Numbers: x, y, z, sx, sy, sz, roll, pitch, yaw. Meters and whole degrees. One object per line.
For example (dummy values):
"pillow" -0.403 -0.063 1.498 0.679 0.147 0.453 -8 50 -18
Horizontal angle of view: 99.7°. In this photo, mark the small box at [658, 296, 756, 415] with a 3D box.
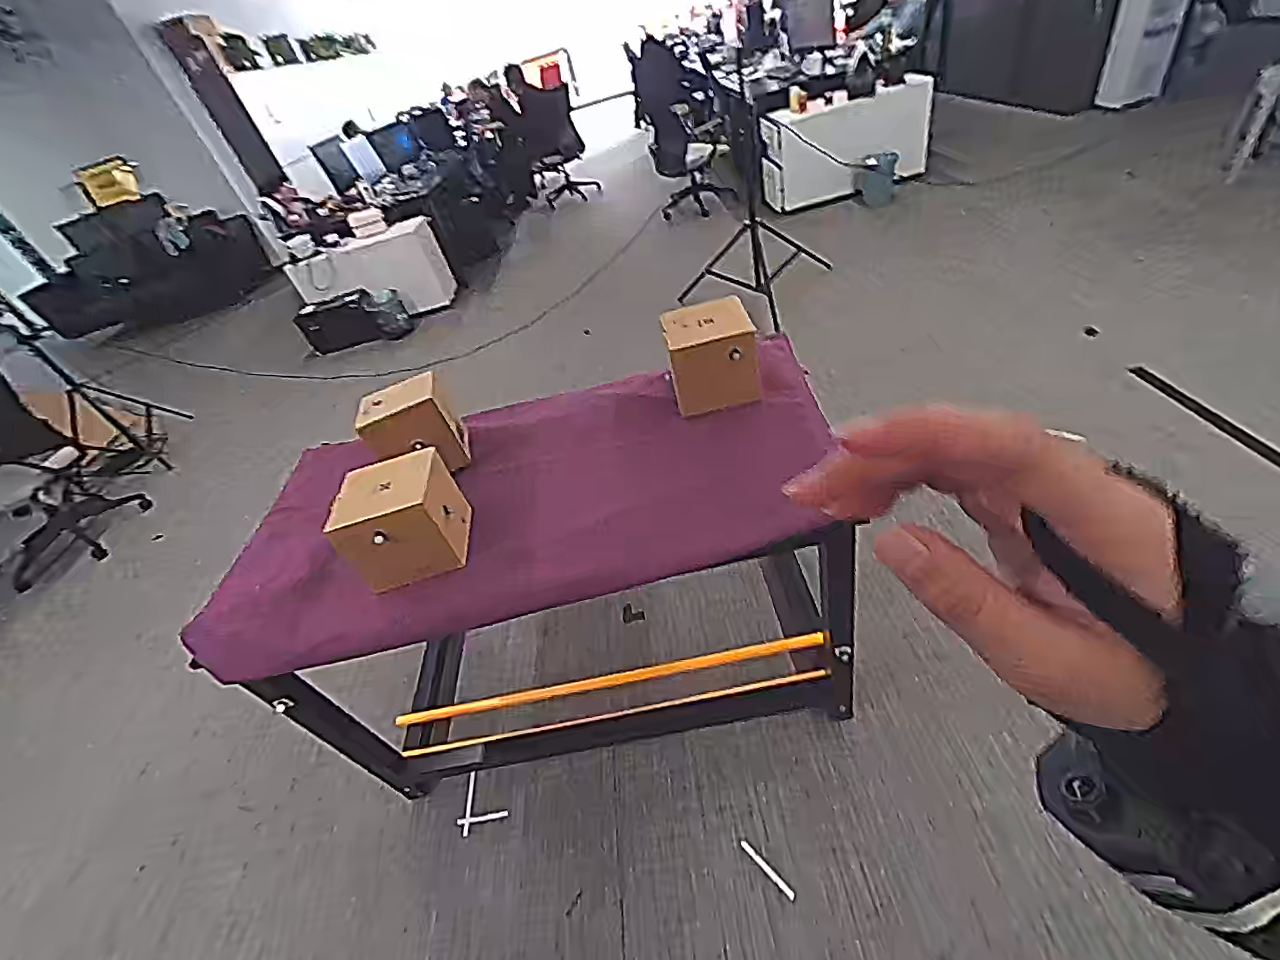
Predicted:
"small box" 0.146 -0.264 1.158 0.179 0.176 0.168 -13 41 5

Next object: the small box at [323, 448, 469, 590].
"small box" -0.432 0.074 0.994 0.179 0.176 0.168 -17 40 1
